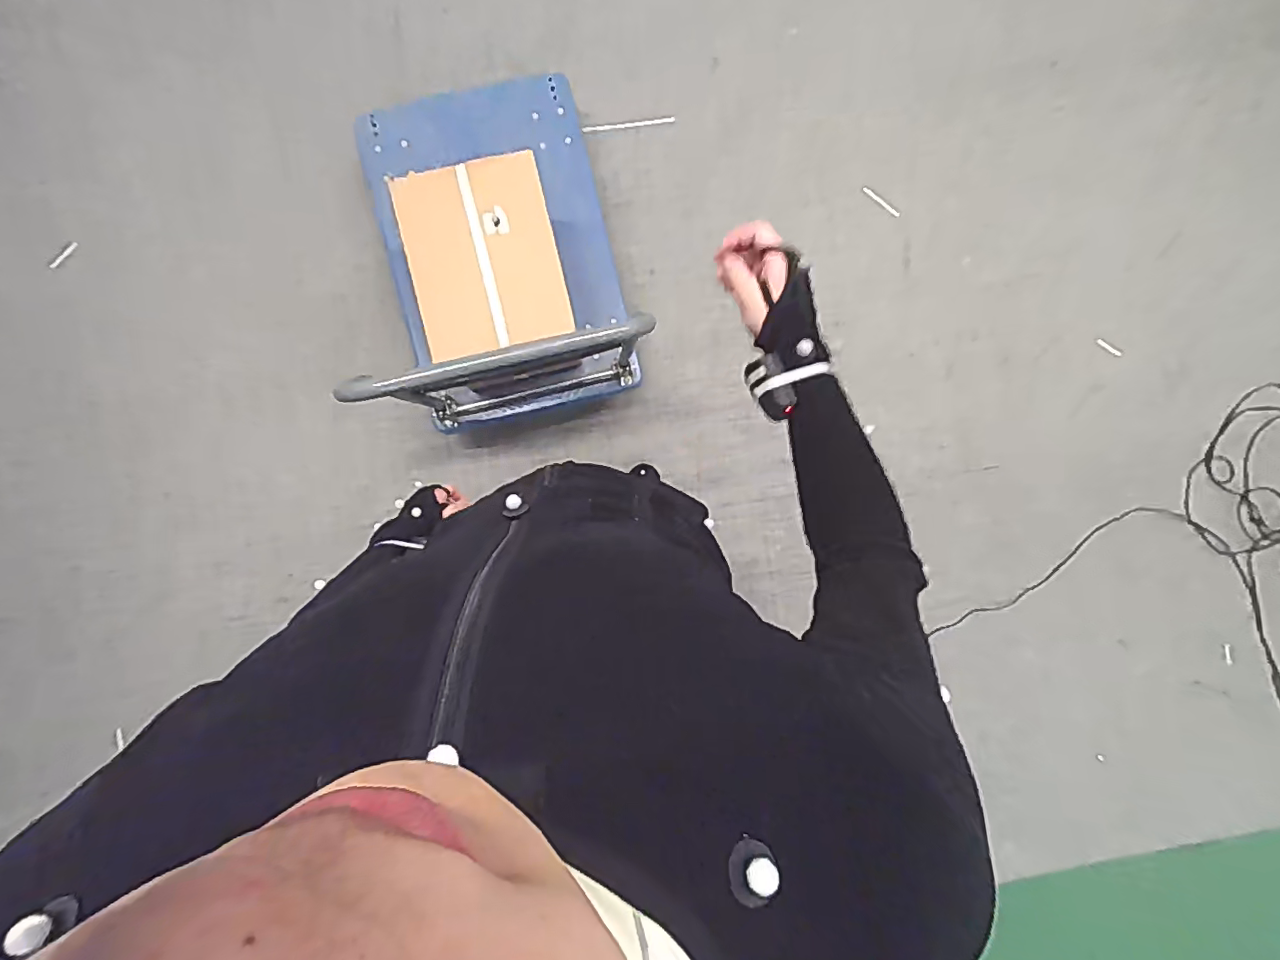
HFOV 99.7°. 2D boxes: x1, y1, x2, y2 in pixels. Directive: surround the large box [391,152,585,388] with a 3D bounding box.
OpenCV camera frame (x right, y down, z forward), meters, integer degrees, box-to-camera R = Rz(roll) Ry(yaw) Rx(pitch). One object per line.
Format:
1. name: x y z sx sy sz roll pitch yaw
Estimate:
1. large box: -0.335 -0.471 1.293 0.320 0.320 0.408 -14 90 -4
